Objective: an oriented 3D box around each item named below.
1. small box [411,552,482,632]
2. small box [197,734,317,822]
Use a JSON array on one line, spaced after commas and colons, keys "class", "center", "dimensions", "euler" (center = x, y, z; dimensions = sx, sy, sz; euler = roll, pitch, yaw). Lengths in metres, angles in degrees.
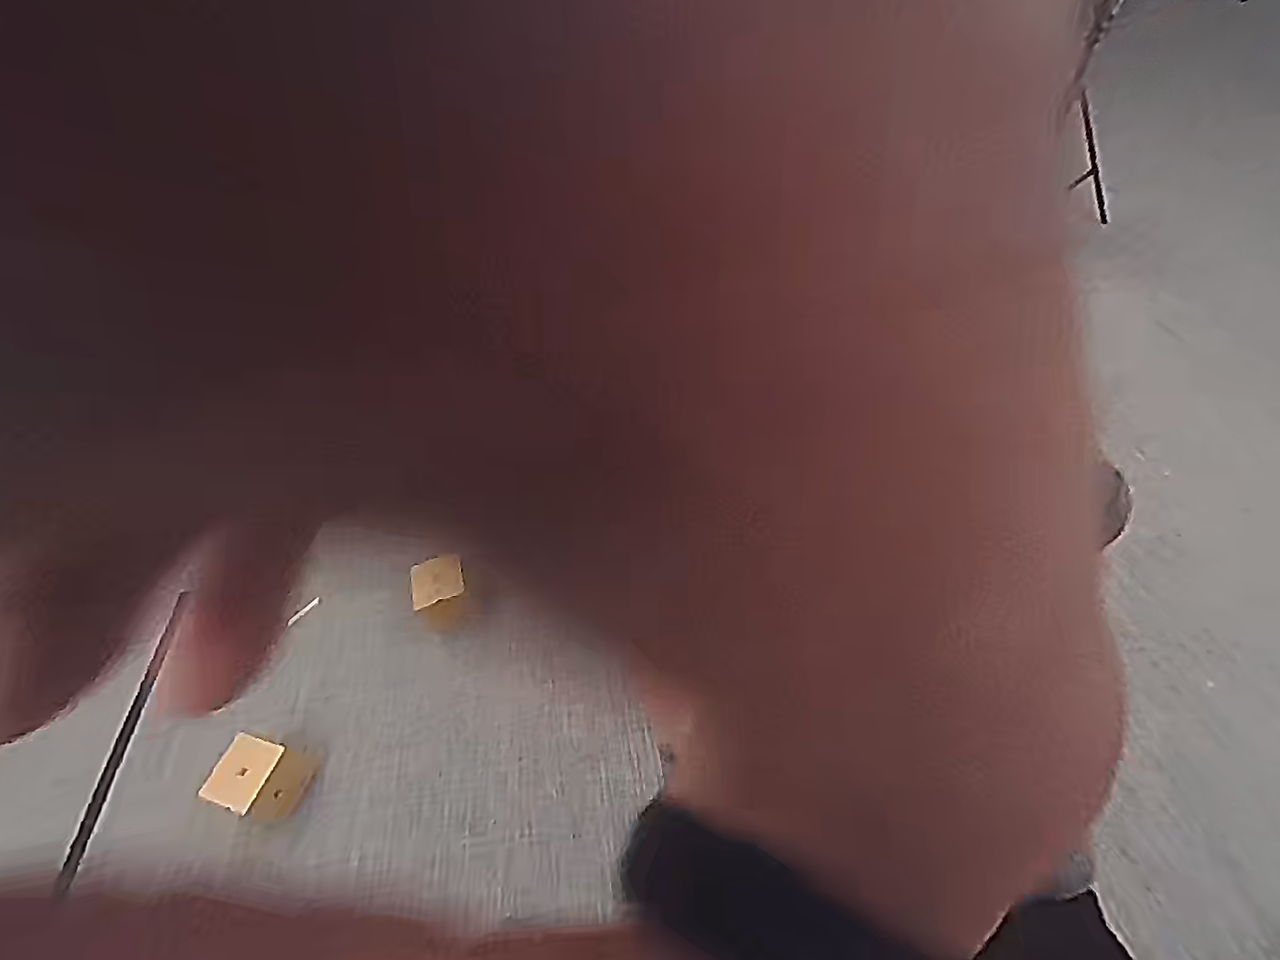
[{"class": "small box", "center": [-0.645, 0.378, 1.808], "dimensions": [0.168, 0.176, 0.179], "euler": [-20, 51, -6]}, {"class": "small box", "center": [-1.059, 0.837, 1.512], "dimensions": [0.179, 0.176, 0.168], "euler": [7, 53, 17]}]
